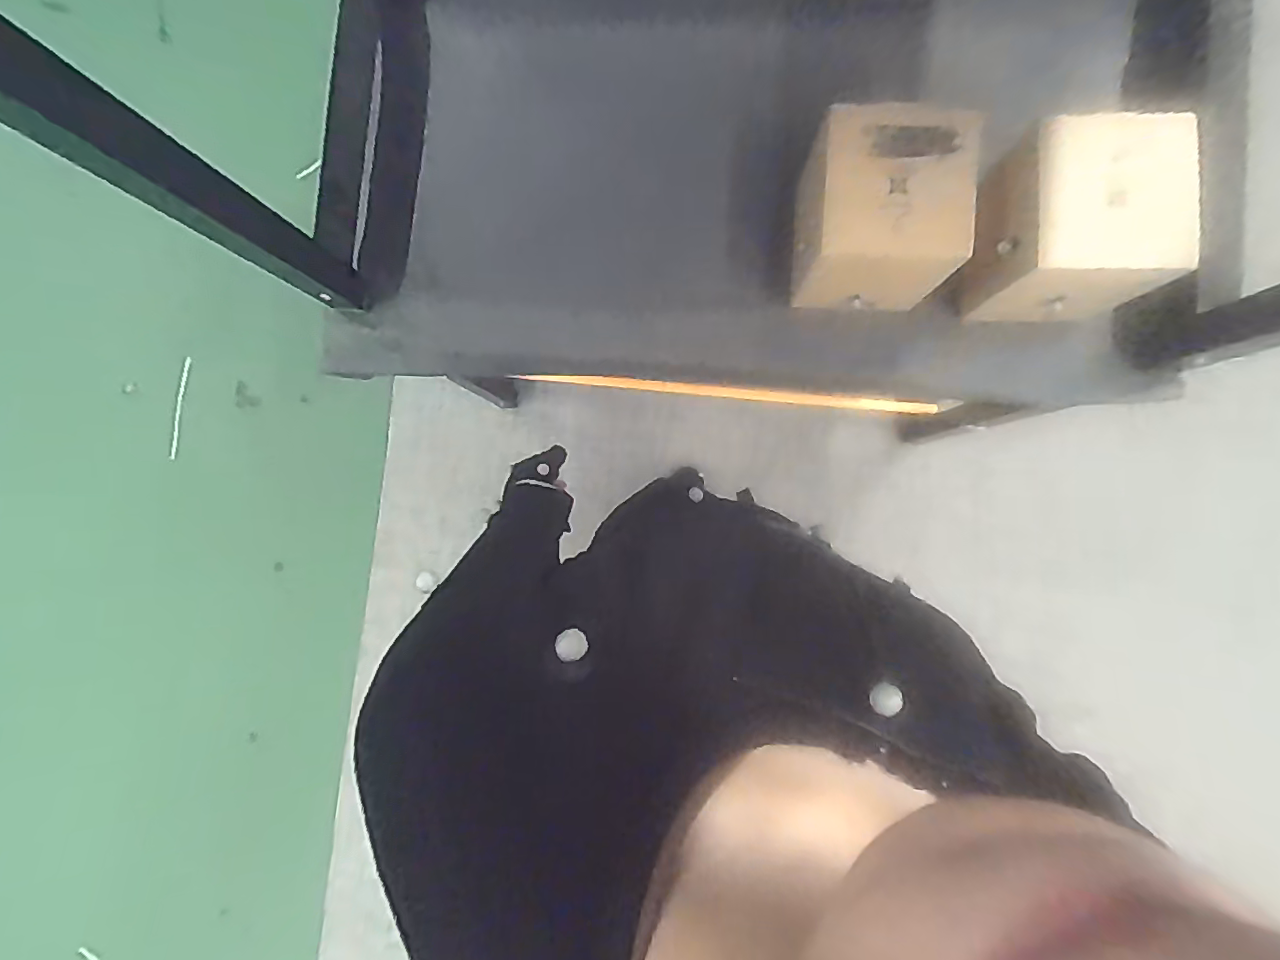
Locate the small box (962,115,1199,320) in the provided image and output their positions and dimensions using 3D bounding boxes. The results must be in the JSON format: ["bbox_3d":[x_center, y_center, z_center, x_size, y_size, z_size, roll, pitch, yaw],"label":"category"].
[{"bbox_3d":[0.526,-0.308,0.669,0.168,0.176,0.179,2,87,4],"label":"small box"}]
